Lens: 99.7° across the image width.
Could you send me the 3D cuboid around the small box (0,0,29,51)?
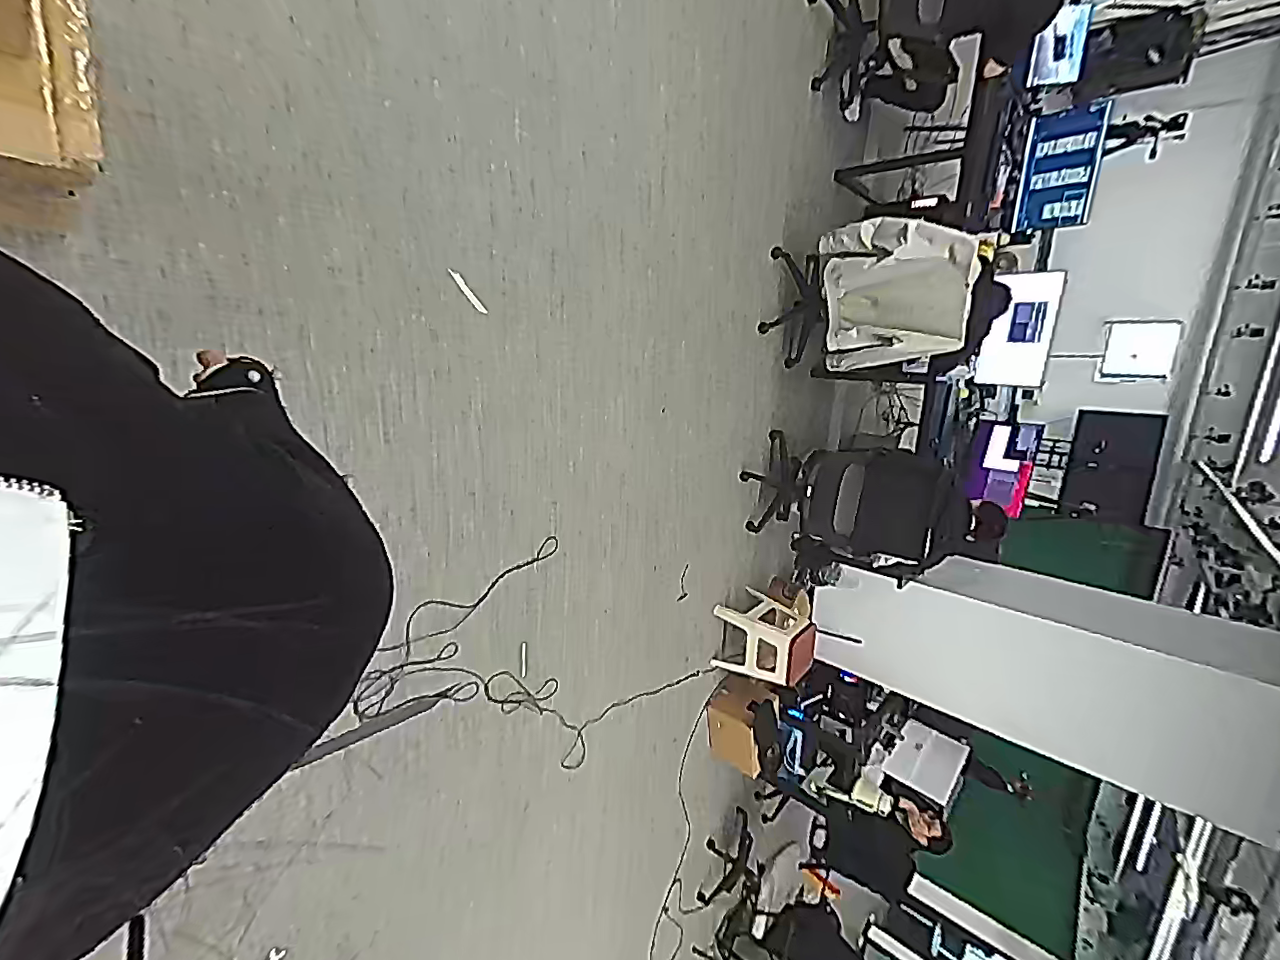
[{"bbox_3d":[-0.620,-0.495,0.426,0.168,0.176,0.179,-10,108,-47],"label":"small box"}]
